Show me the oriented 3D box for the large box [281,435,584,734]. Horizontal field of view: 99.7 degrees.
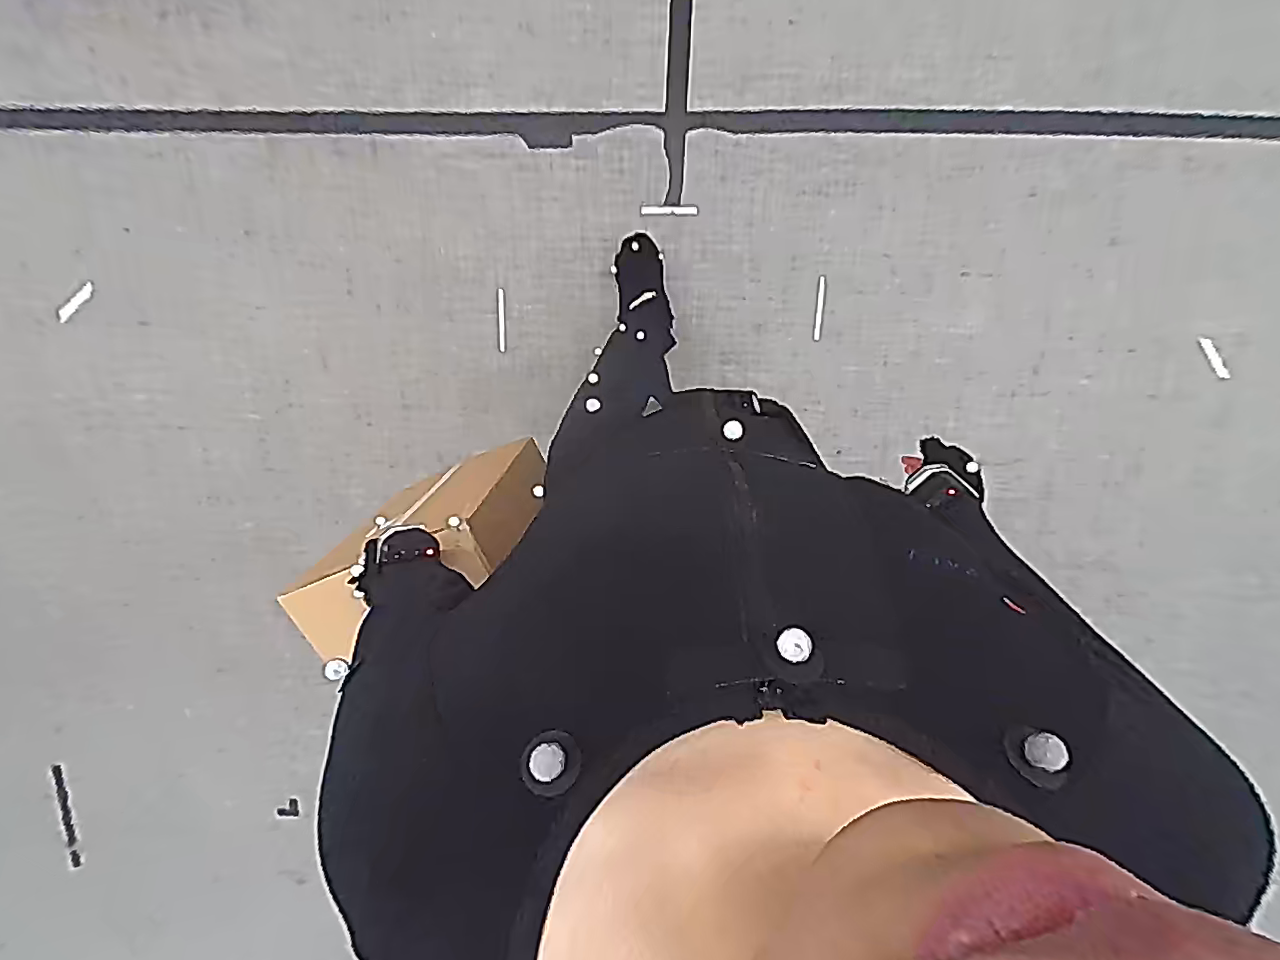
[{"bbox_3d":[-0.315,0.161,0.978,0.320,0.408,0.320,-22,109,9],"label":"large box"}]
